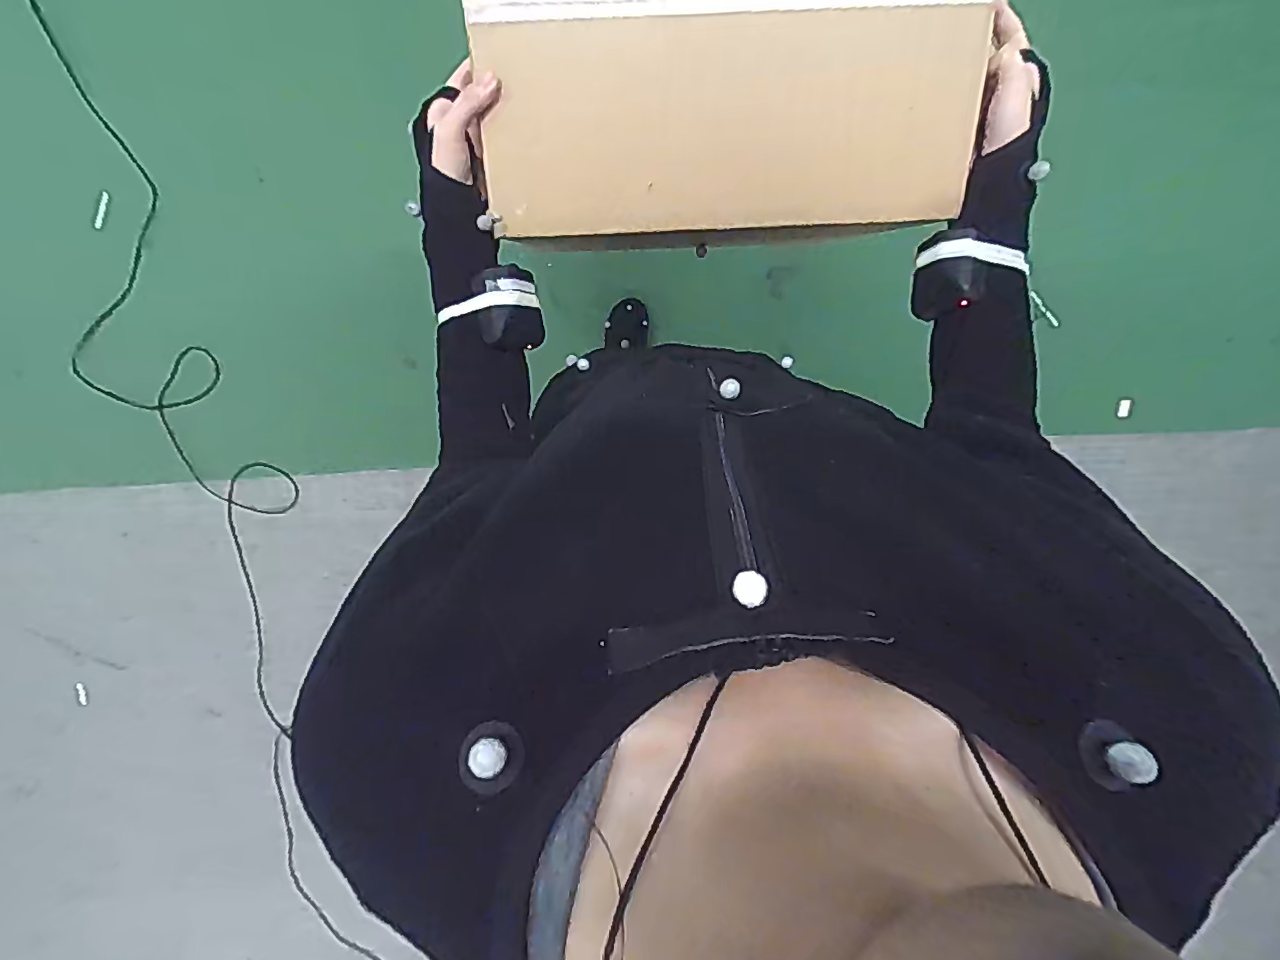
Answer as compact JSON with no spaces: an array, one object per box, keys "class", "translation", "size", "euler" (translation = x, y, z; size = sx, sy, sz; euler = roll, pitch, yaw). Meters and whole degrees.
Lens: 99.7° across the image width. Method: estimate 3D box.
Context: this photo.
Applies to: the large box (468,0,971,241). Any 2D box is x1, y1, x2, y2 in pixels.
[{"class":"large box","translation":[0.062,-0.429,0.560],"size":[0.408,0.320,0.320],"euler":[-3,110,0]}]
